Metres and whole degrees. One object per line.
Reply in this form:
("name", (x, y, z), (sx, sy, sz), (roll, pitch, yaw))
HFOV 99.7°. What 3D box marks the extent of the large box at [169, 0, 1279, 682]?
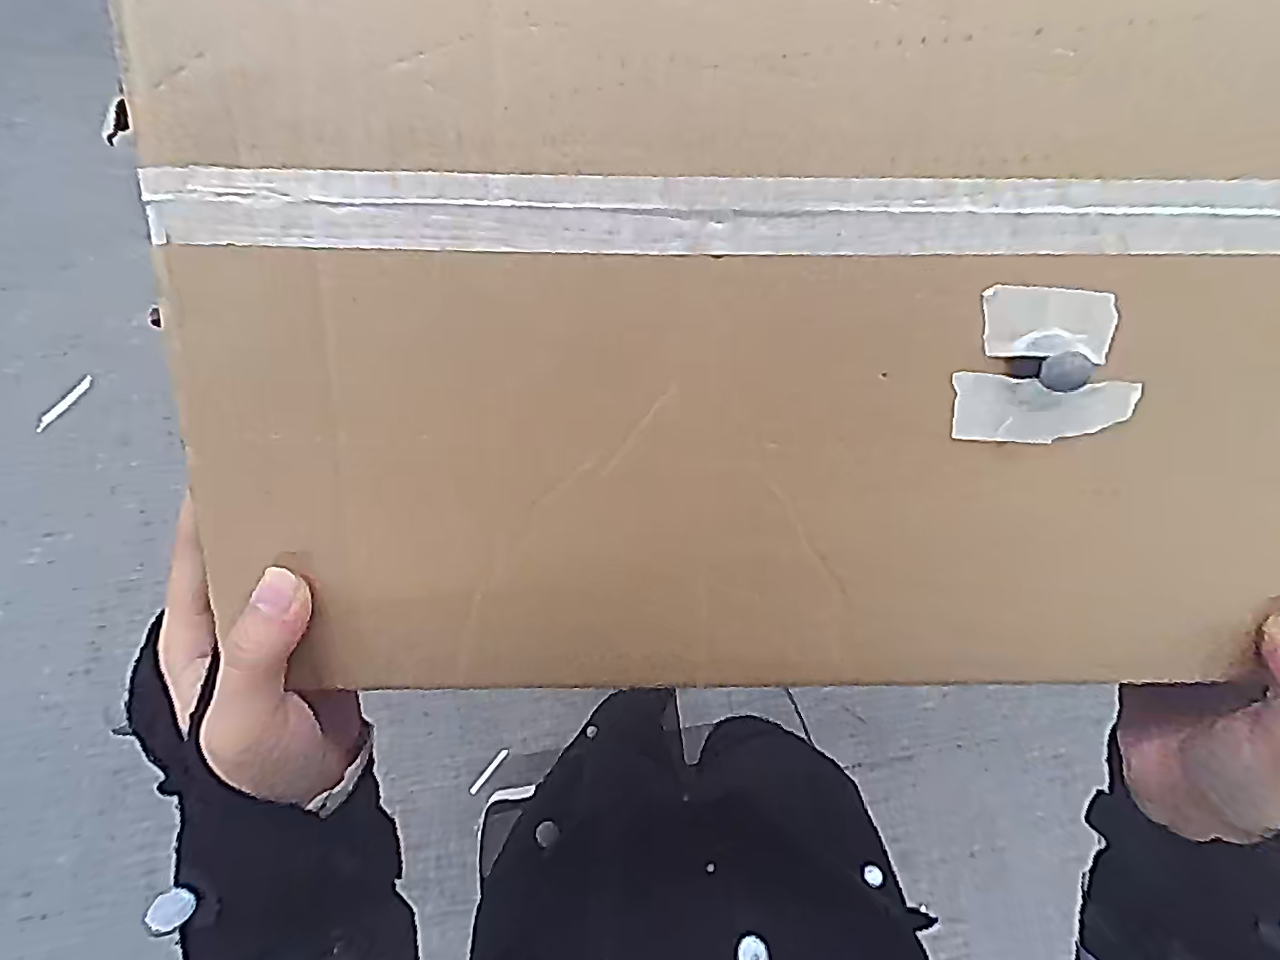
("large box", (0.051, -0.107, 0.324), (0.408, 0.320, 0.320), (-1, 101, -2))
